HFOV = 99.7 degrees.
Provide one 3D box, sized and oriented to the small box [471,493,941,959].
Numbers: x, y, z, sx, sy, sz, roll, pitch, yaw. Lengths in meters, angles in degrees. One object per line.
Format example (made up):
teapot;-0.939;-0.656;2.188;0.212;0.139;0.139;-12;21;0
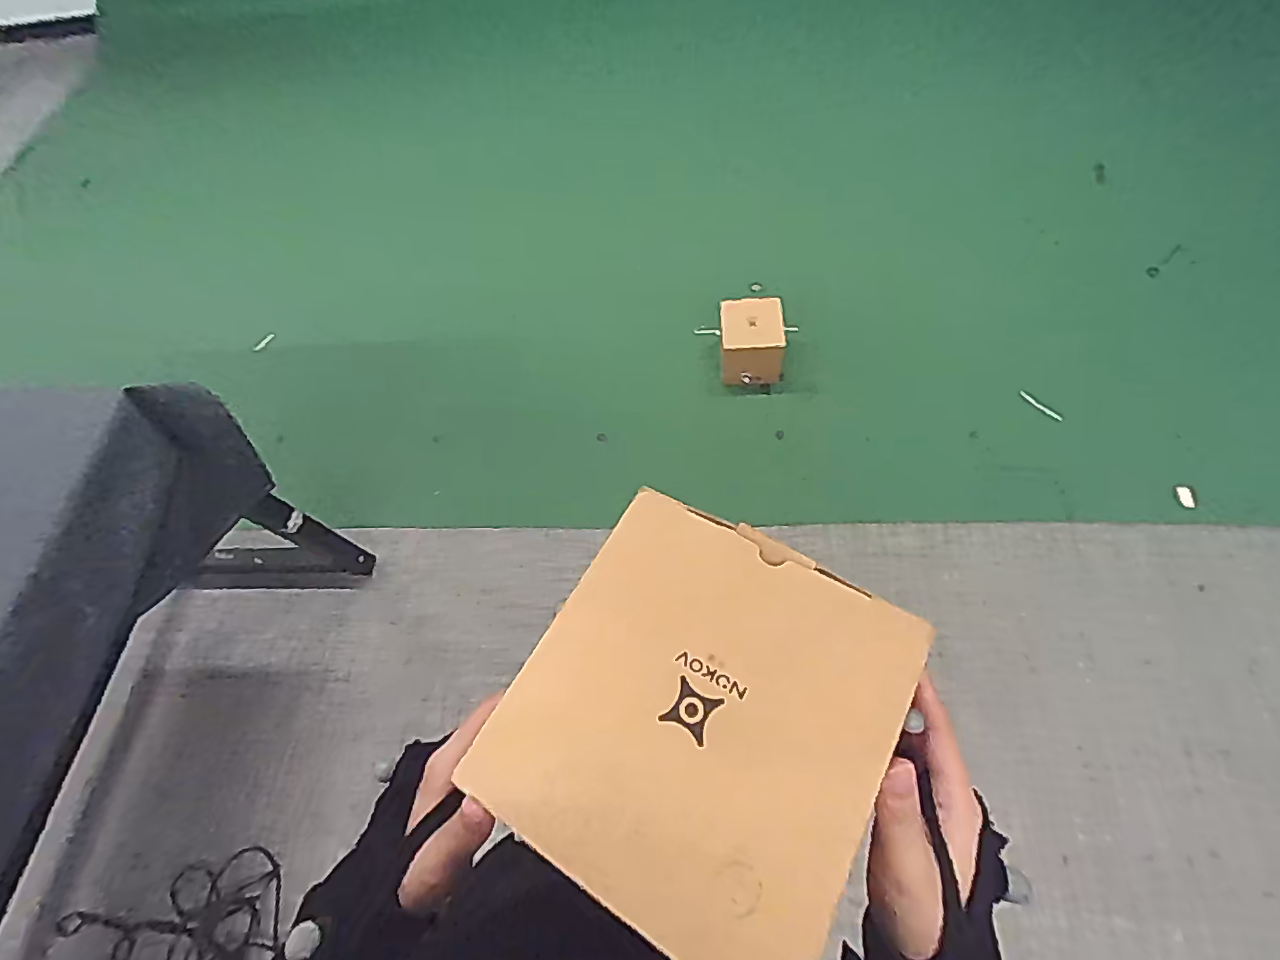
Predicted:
small box;0.042;0.145;0.321;0.168;0.176;0.179;25;66;20

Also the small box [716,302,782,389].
small box;0.306;-0.381;1.548;0.168;0.176;0.179;-2;63;6
